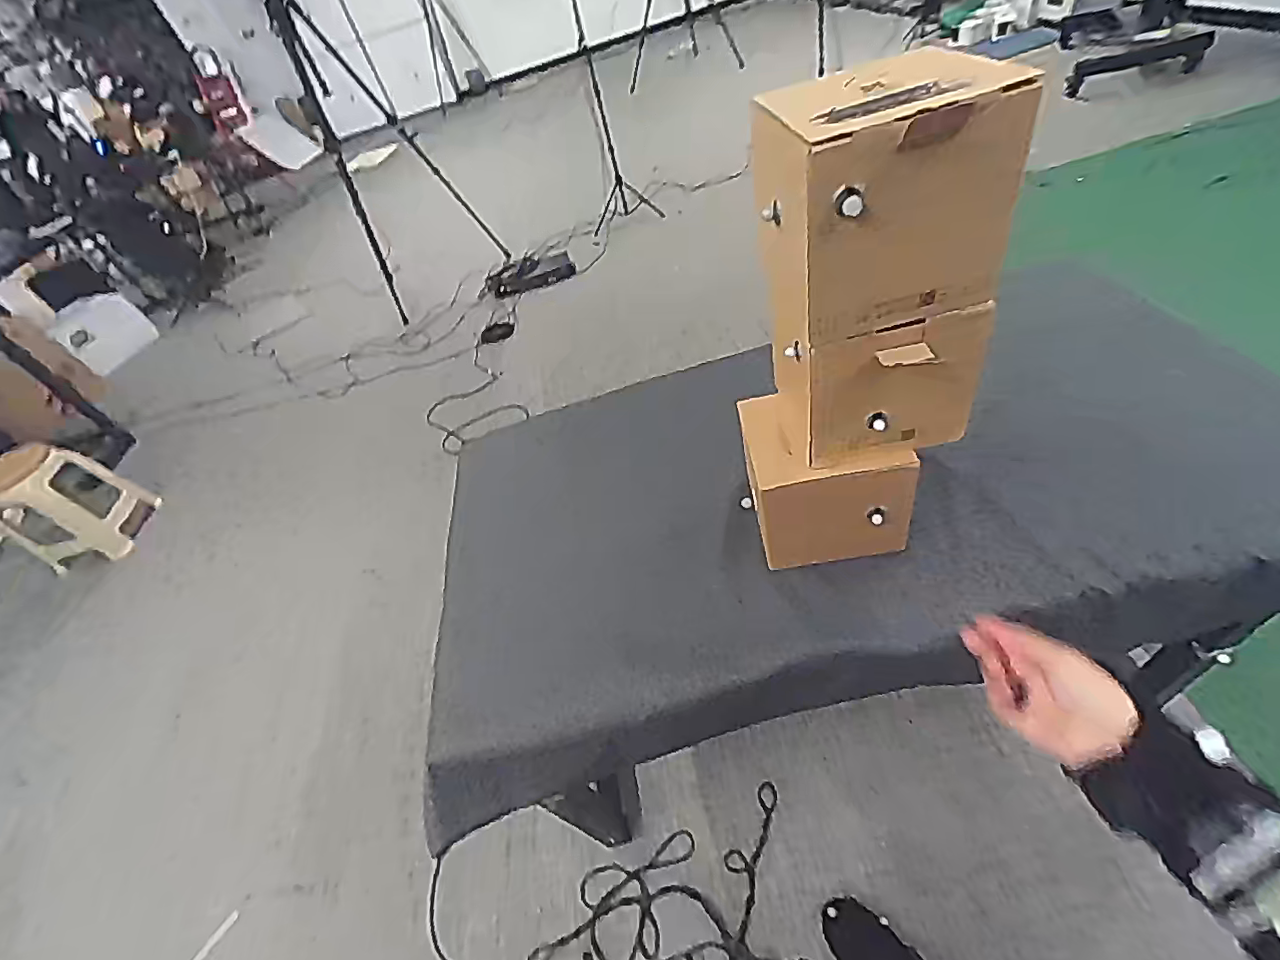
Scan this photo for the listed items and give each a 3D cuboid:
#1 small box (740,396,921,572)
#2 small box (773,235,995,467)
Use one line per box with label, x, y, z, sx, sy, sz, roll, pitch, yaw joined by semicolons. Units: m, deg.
small box;0.236;-0.001;0.704;0.179;0.176;0.168;-12;44;9
small box;0.249;-0.141;0.603;0.168;0.176;0.179;-12;45;7
